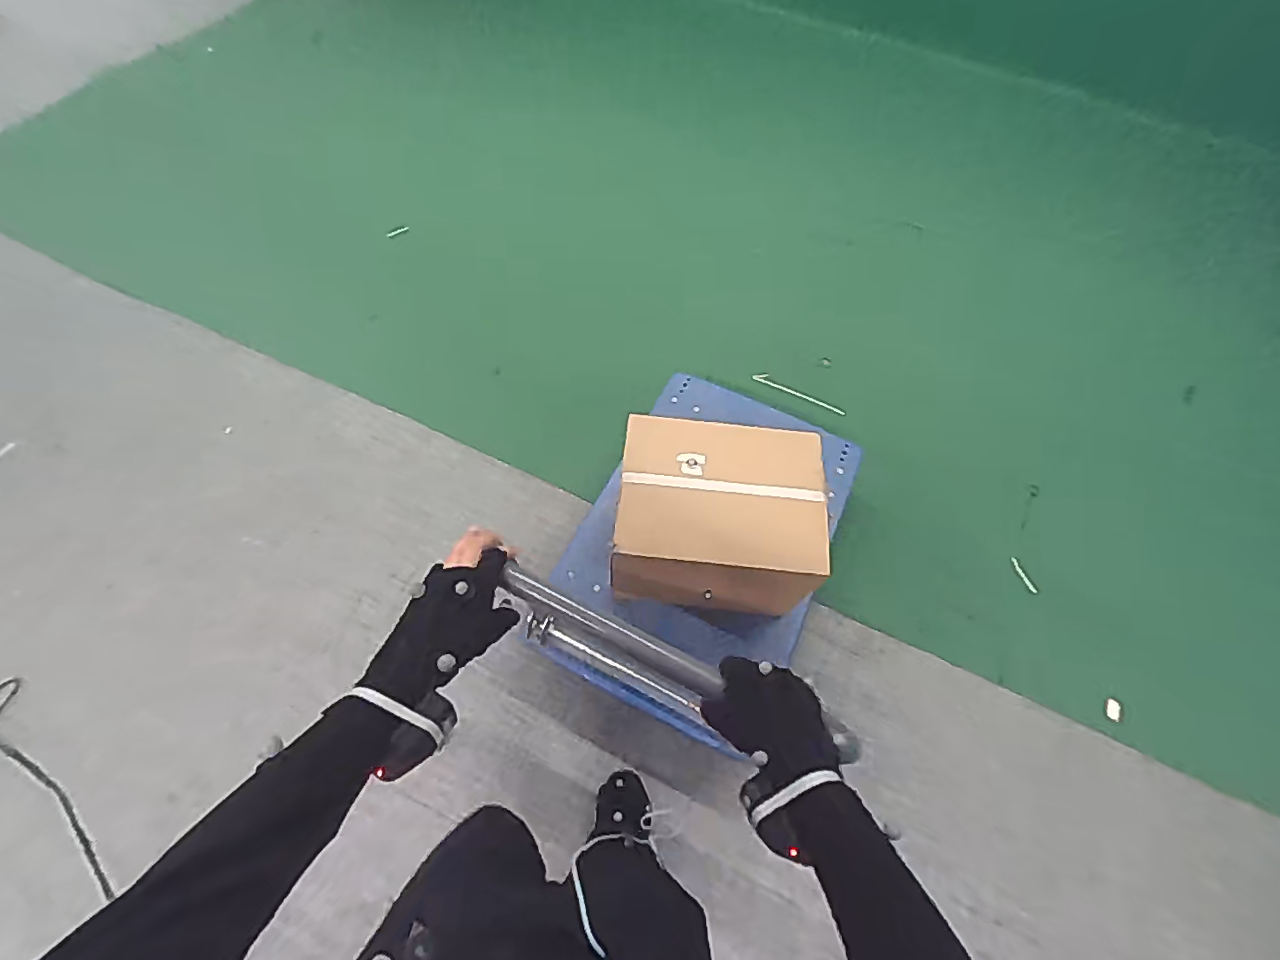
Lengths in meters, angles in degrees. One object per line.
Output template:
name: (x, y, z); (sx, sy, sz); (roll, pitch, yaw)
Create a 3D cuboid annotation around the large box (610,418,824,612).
large box: (0.155, 0.090, 1.198); (0.408, 0.320, 0.320); (7, 62, 2)
